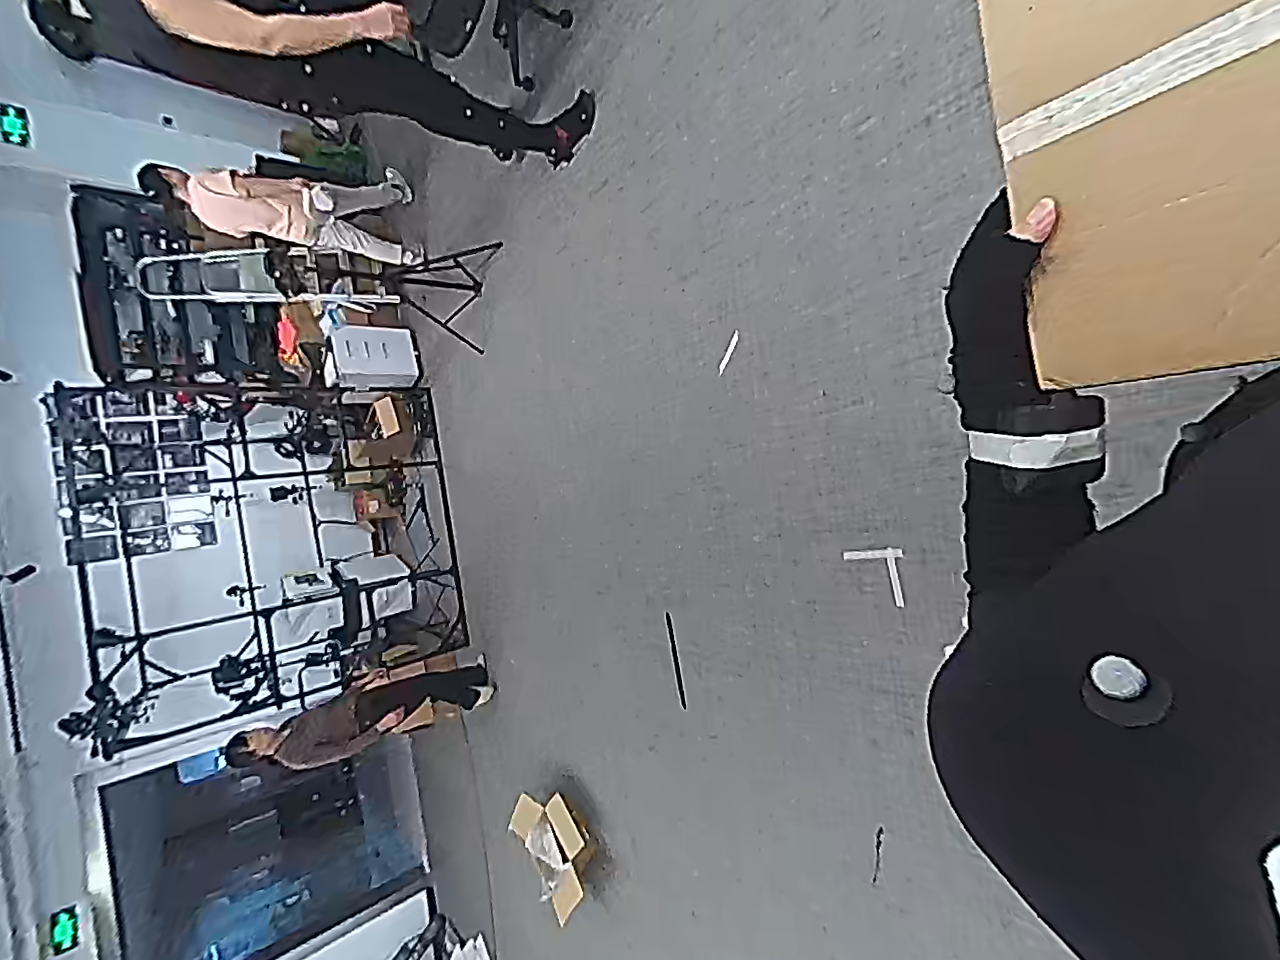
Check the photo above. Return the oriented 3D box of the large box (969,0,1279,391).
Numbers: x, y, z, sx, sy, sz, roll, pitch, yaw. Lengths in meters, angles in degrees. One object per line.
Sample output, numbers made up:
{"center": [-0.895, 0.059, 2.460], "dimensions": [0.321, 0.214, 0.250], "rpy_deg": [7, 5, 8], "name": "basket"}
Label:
{"center": [0.461, -0.259, 0.272], "dimensions": [0.408, 0.320, 0.320], "rpy_deg": [-5, 101, 54], "name": "large box"}
